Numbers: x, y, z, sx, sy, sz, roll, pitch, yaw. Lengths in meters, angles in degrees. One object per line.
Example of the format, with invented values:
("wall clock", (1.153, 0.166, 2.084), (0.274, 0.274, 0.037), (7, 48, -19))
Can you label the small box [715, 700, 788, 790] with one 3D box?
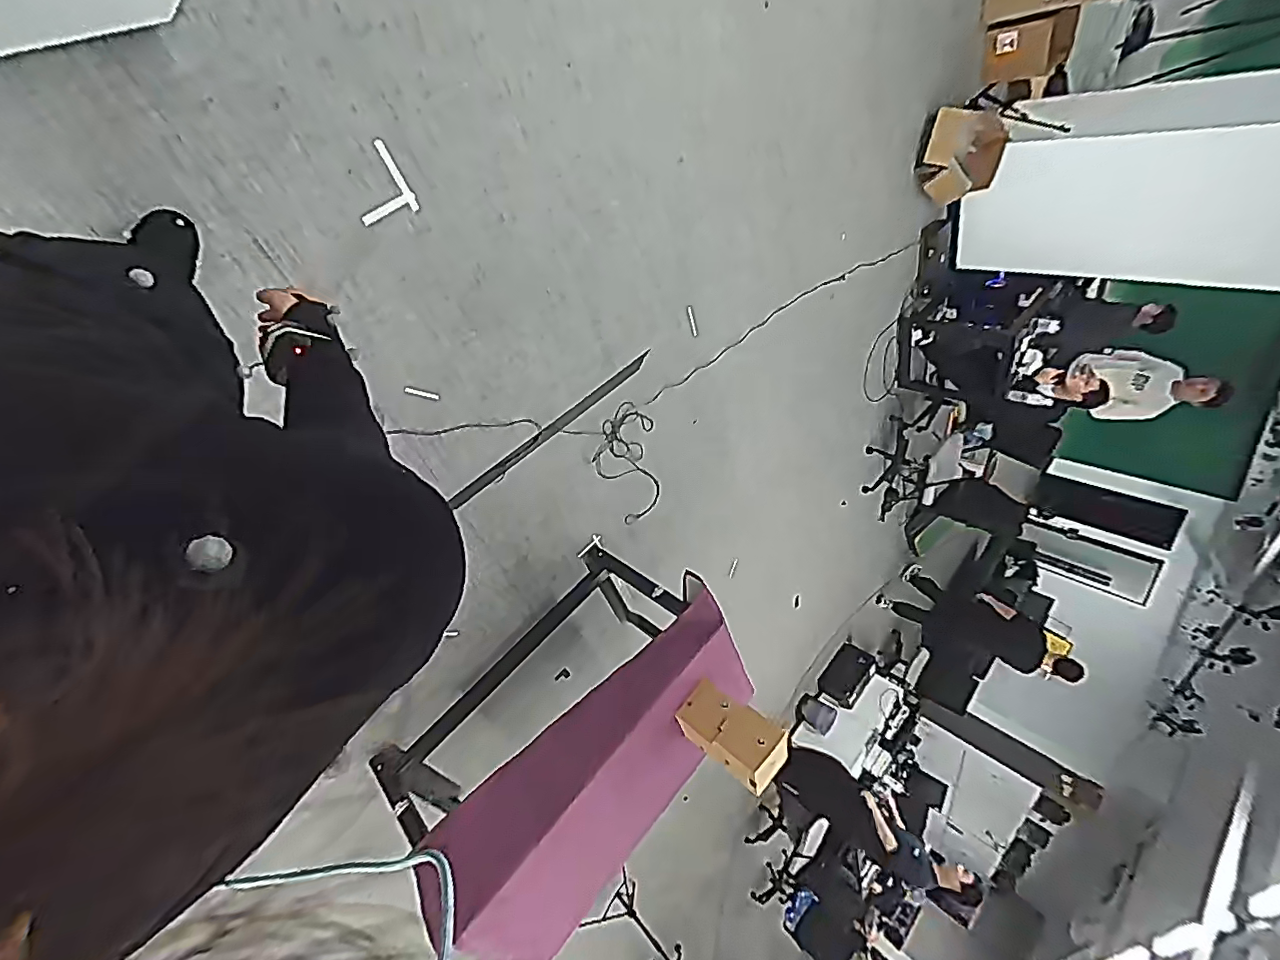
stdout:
("small box", (0.377, 0.885, 1.822), (0.179, 0.176, 0.168), (-37, 131, -28))
